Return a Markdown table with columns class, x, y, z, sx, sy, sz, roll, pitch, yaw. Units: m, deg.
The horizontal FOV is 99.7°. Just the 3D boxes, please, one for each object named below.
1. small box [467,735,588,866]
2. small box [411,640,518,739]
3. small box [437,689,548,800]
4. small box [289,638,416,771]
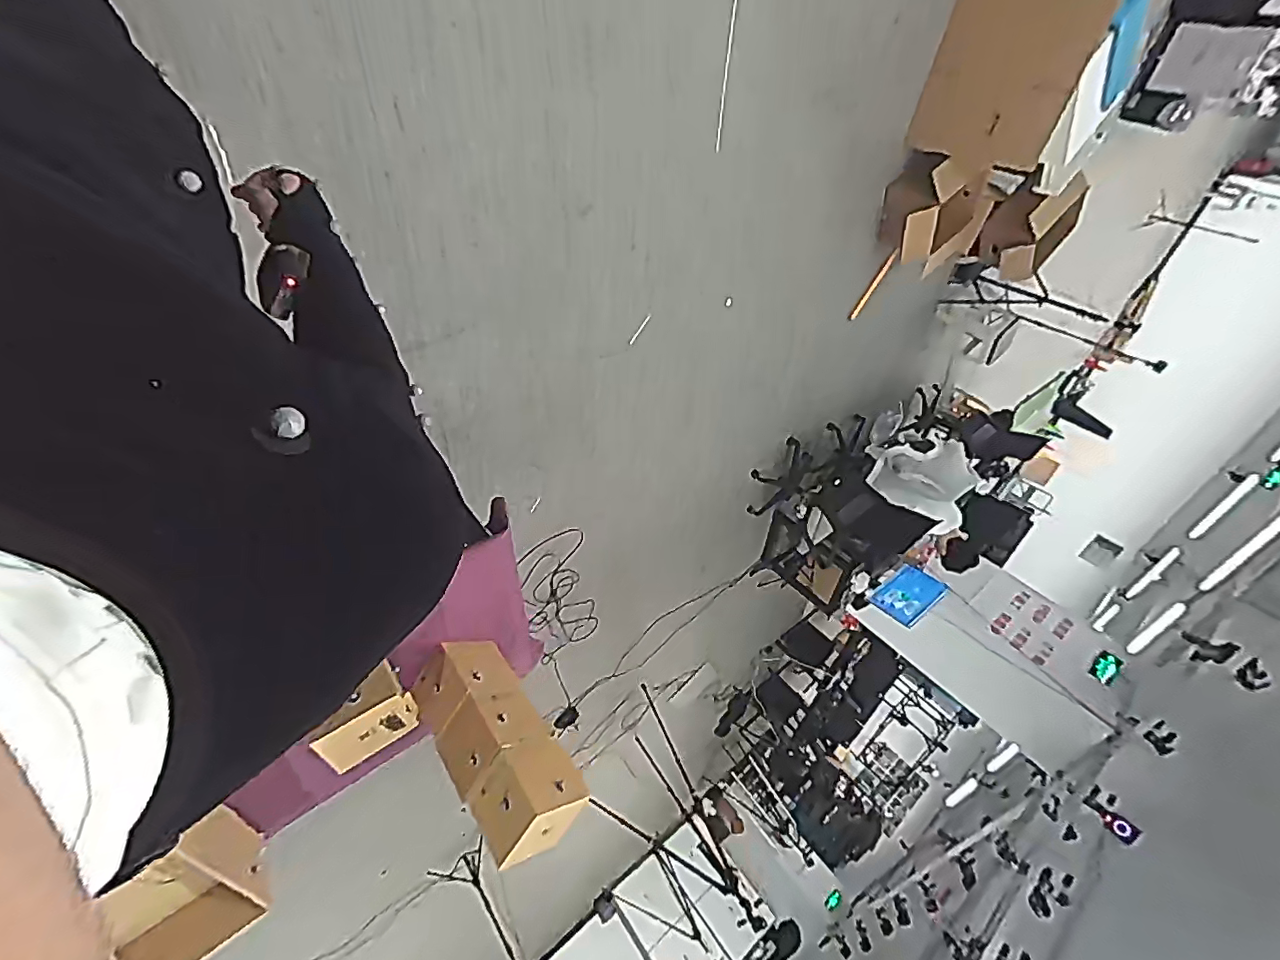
| class | x | y | z | sx | sy | sz | roll | pitch | yaw |
| --- | --- | --- | --- | --- | --- | --- | --- | --- | --- |
| small box | -0.259 | 0.714 | 1.228 | 0.179 | 0.176 | 0.168 | 19 | 107 | -53 |
| small box | -0.461 | 0.535 | 1.407 | 0.168 | 0.176 | 0.179 | -55 | 145 | 10 |
| small box | -0.364 | 0.628 | 1.316 | 0.179 | 0.176 | 0.168 | -55 | 144 | 9 |
| small box | -0.620 | 0.479 | 1.172 | 0.179 | 0.176 | 0.168 | -28 | 142 | -28 |
